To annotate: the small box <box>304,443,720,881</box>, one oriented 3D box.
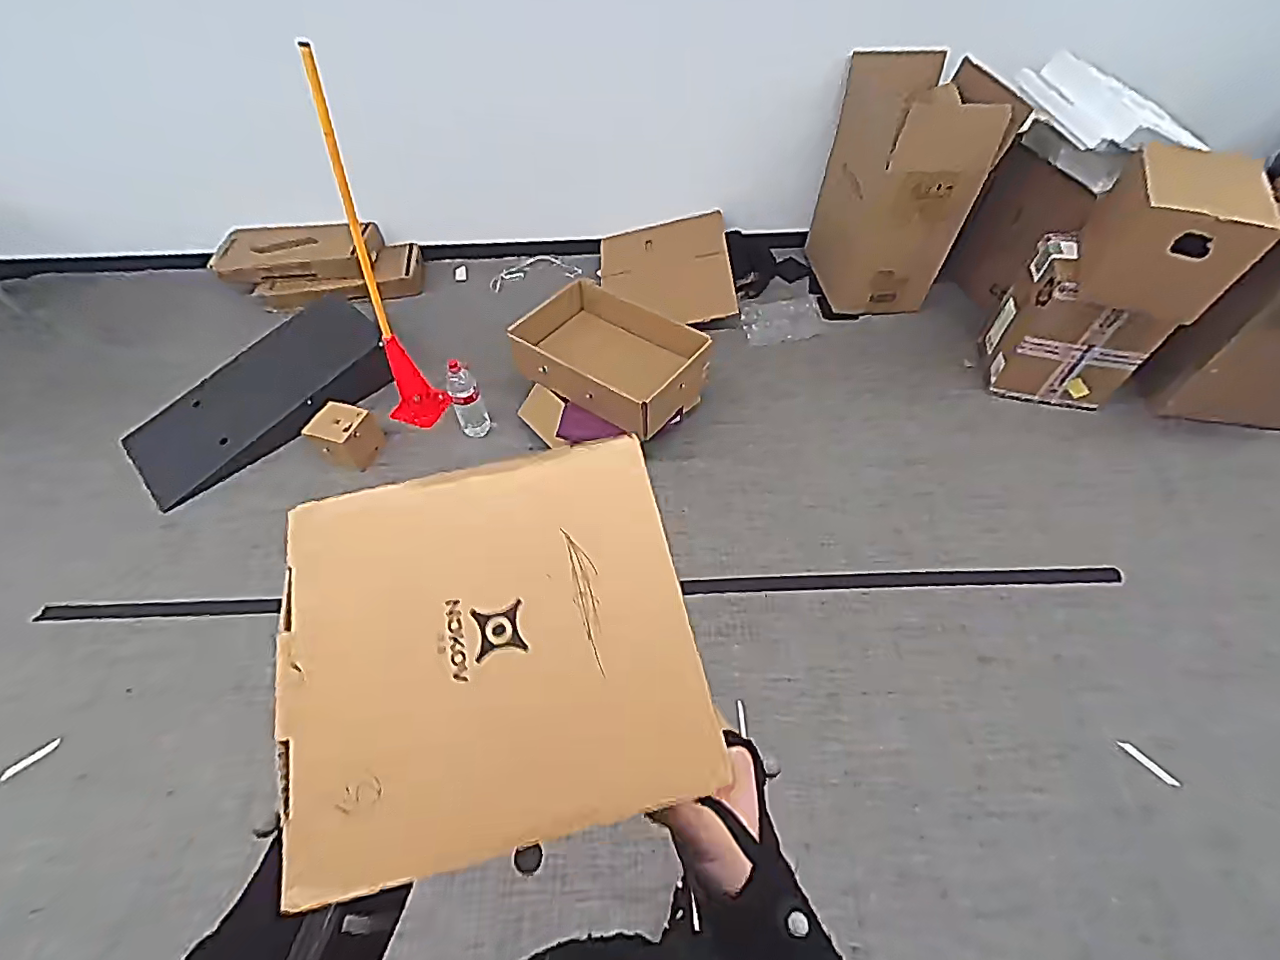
[{"bbox_3d":[-0.068,0.103,0.326,0.179,0.176,0.168,-13,67,-8],"label":"small box"}]
